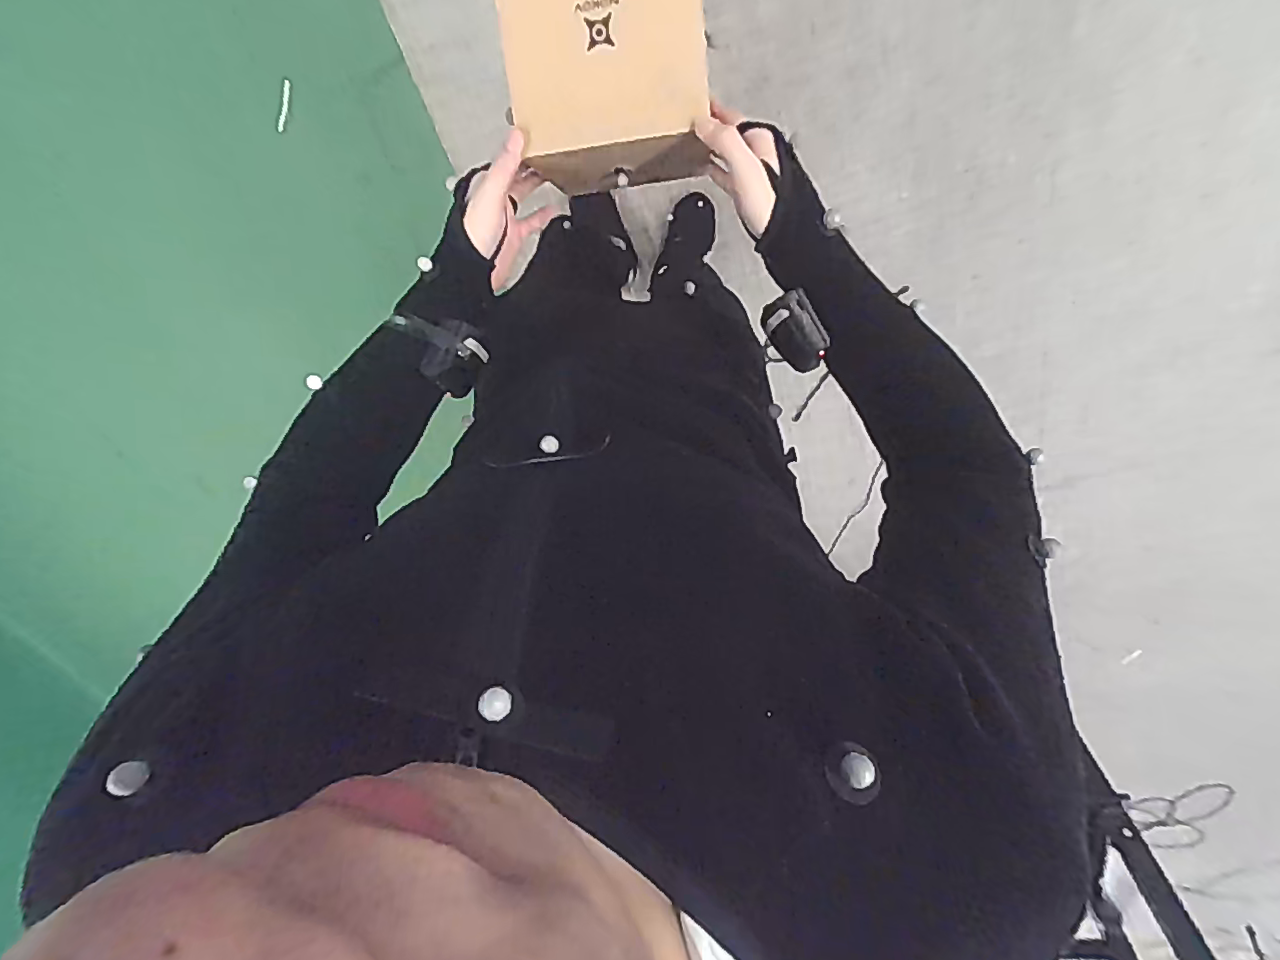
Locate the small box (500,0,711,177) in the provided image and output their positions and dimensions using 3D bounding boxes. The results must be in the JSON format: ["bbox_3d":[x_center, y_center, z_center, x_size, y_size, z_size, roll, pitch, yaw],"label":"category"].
[{"bbox_3d":[-0.021,-0.399,0.504,0.168,0.176,0.179,-3,107,8],"label":"small box"}]
